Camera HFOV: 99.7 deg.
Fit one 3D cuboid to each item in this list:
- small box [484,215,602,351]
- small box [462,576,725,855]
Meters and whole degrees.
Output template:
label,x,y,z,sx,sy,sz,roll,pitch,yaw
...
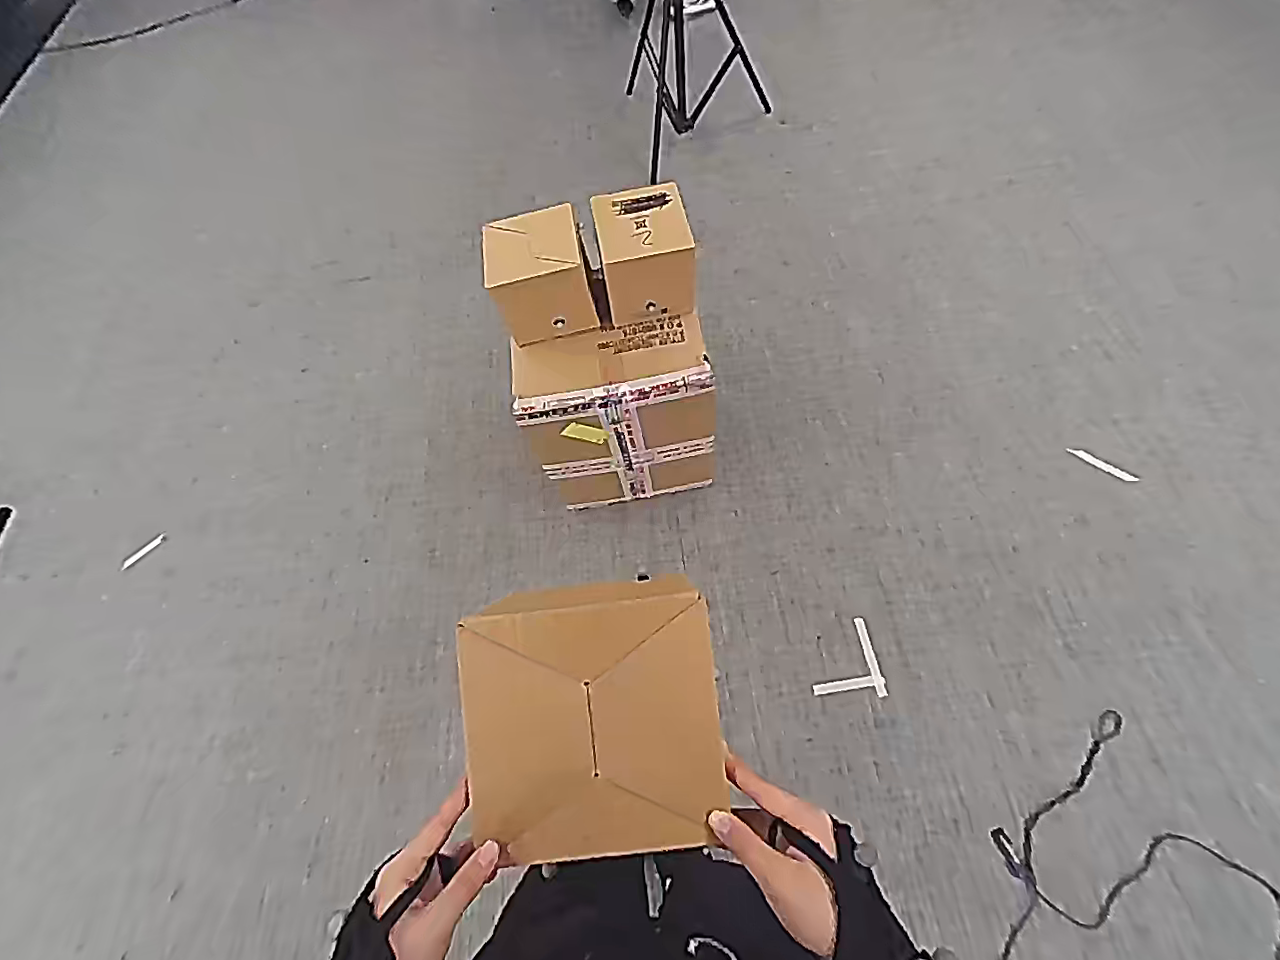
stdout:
label,x,y,z,sx,sy,sz,roll,pitch,yaw
small box,-0.186,-0.385,1.058,0.179,0.176,0.168,-12,64,3
small box,-0.036,0.177,0.453,0.179,0.176,0.168,-6,85,0
